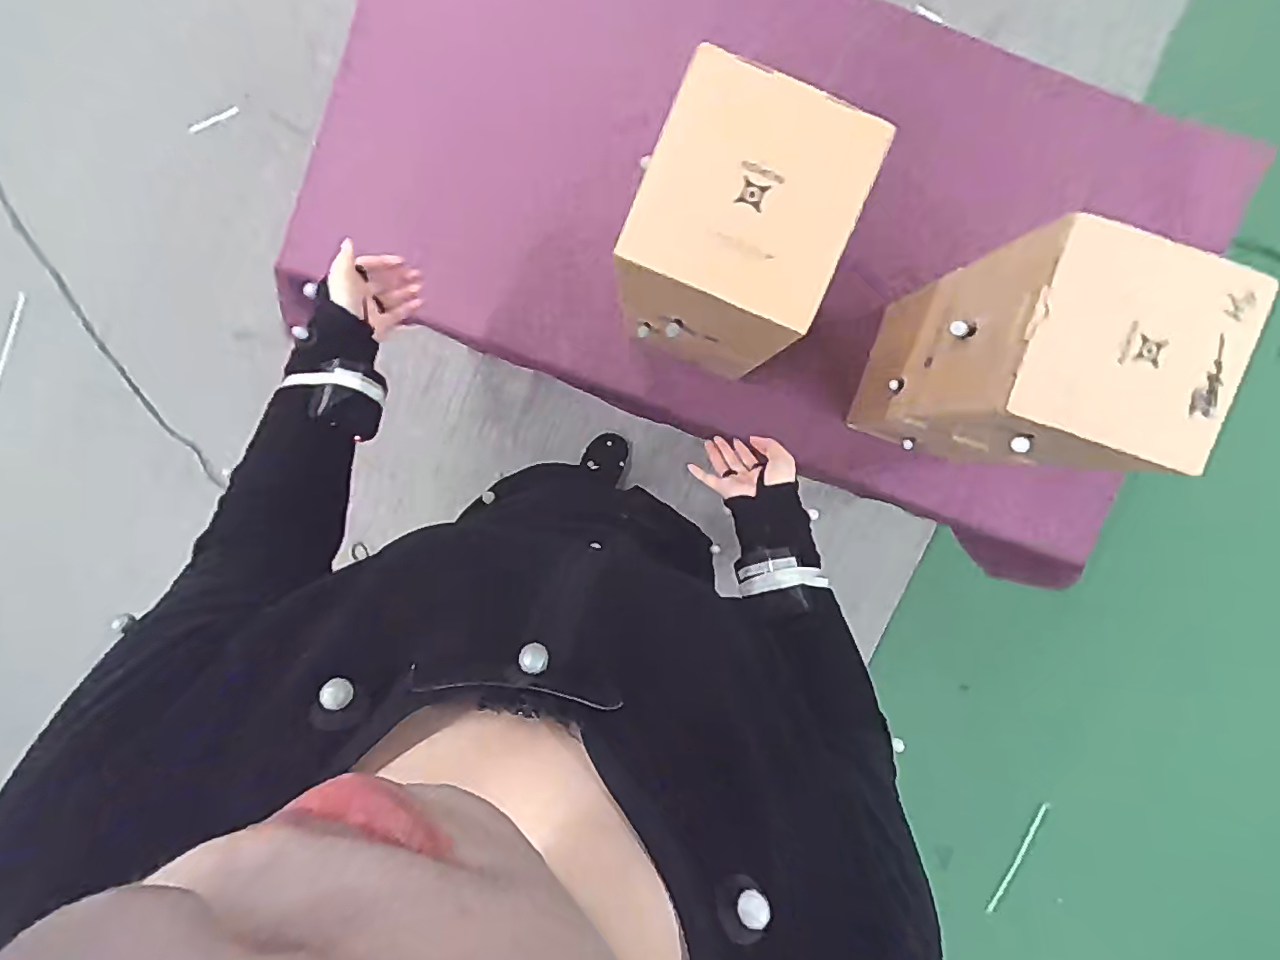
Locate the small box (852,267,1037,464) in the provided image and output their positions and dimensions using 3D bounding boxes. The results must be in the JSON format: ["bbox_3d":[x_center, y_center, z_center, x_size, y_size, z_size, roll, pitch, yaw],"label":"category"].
[{"bbox_3d":[0.394,-0.133,0.676,0.168,0.176,0.179,19,95,-2],"label":"small box"}]

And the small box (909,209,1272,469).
[{"bbox_3d":[0.394,-0.116,0.512,0.179,0.176,0.168,19,95,-1],"label":"small box"}]

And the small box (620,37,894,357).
[{"bbox_3d":[0.090,-0.235,0.501,0.168,0.176,0.179,24,93,-1],"label":"small box"}]
